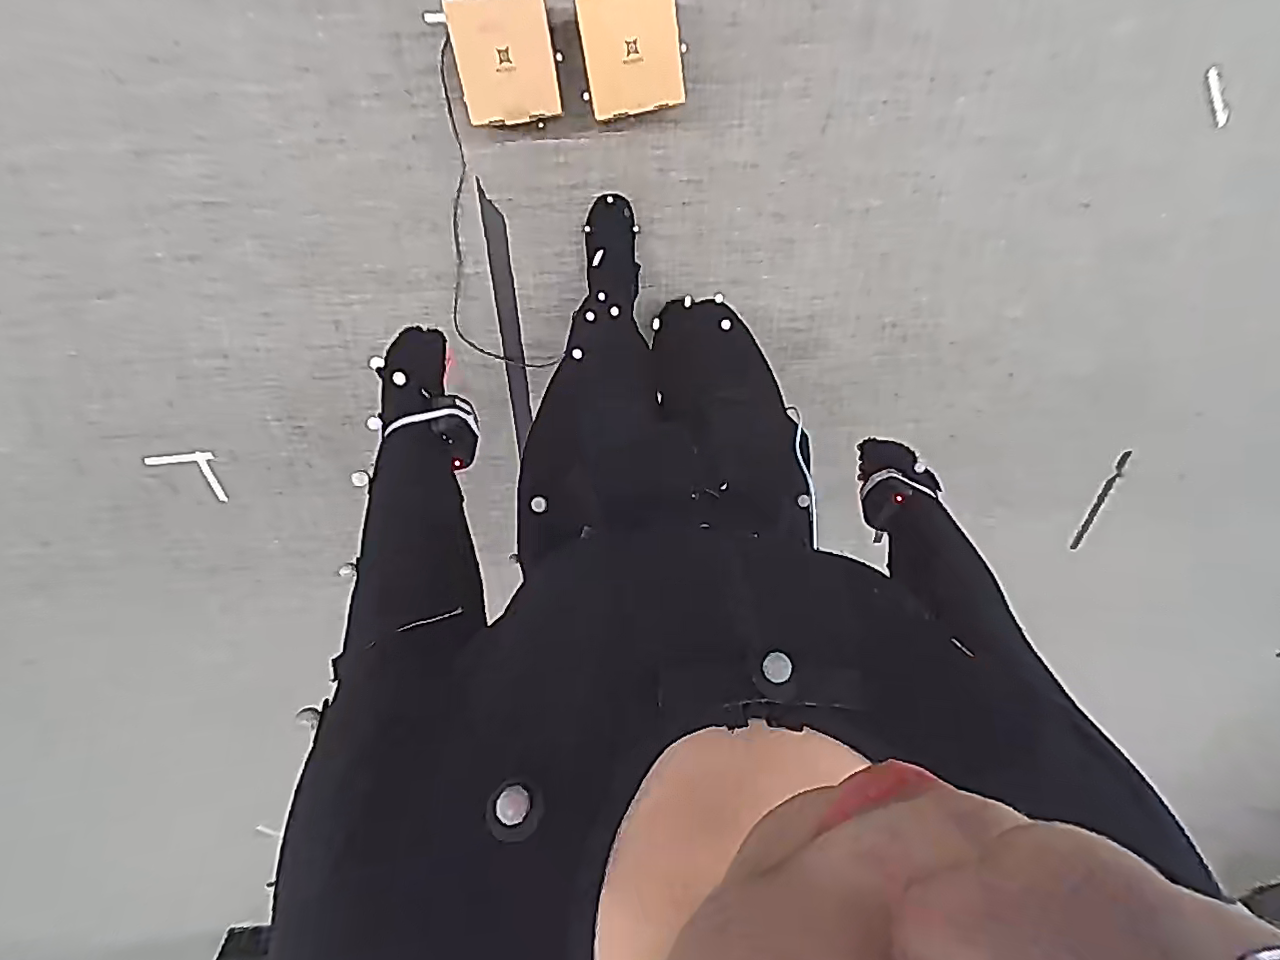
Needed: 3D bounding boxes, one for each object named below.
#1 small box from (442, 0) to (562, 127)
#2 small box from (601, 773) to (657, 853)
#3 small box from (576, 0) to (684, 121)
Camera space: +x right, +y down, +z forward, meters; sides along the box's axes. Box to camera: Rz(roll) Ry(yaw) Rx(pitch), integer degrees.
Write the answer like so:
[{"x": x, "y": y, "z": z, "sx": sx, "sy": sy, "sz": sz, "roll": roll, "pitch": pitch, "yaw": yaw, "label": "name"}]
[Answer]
[{"x": -0.238, "y": -0.757, "z": 0.986, "sx": 0.168, "sy": 0.176, "sz": 0.179, "roll": -8, "pitch": 123, "yaw": -1, "label": "small box"}, {"x": -0.037, "y": 1.092, "z": 1.787, "sx": 0.168, "sy": 0.176, "sz": 0.179, "roll": -6, "pitch": 123, "yaw": -1, "label": "small box"}, {"x": -0.022, "y": -0.779, "z": 0.994, "sx": 0.168, "sy": 0.176, "sz": 0.179, "roll": -11, "pitch": 124, "yaw": 1, "label": "small box"}]
